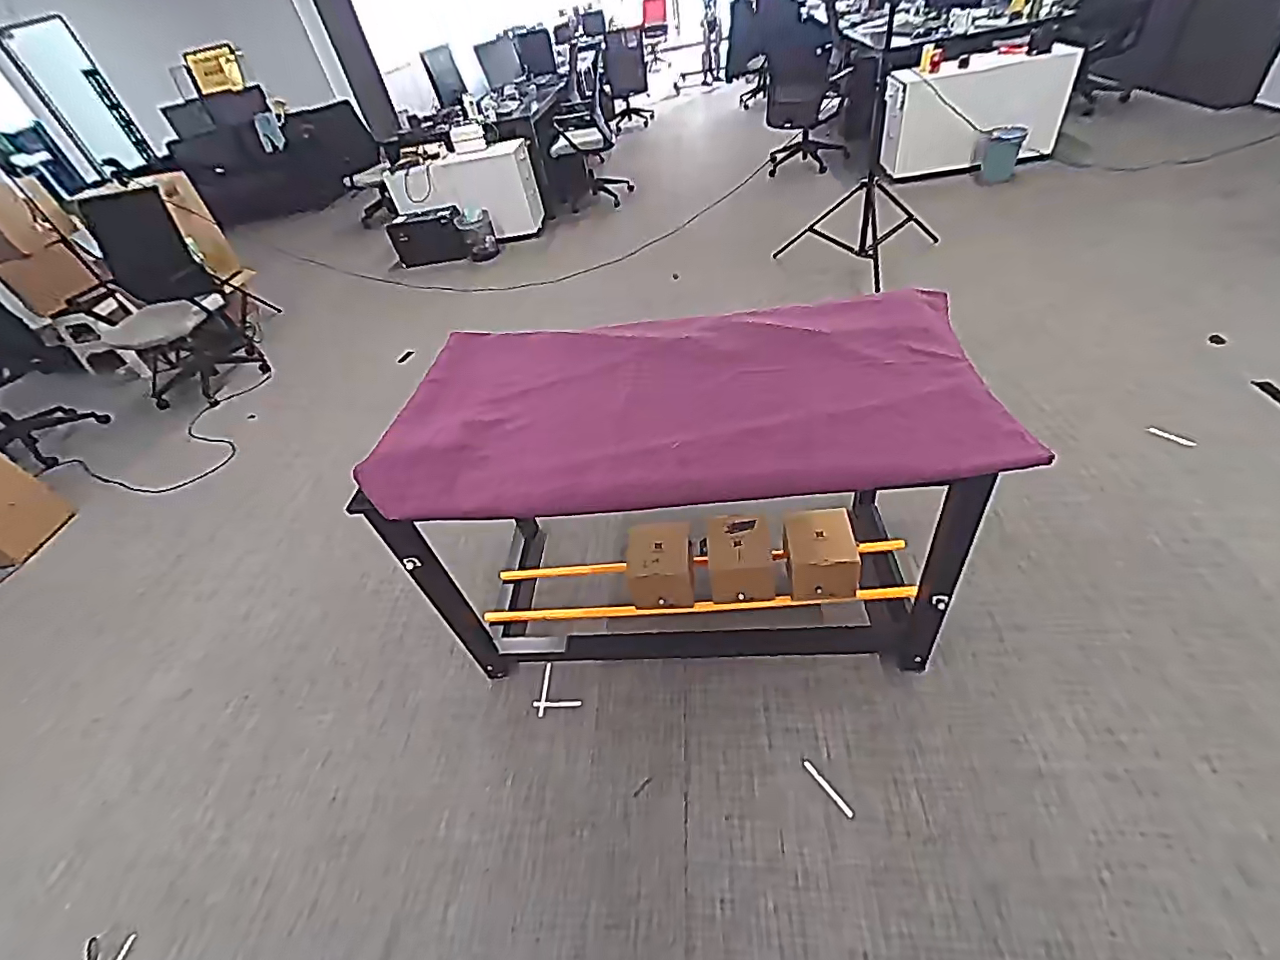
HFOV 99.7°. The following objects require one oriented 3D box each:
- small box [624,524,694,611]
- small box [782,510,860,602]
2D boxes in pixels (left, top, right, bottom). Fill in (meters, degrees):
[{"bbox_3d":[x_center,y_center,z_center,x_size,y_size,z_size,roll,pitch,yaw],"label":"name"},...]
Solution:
[{"bbox_3d":[0.058,0.243,1.501,0.168,0.176,0.179,-4,45,10],"label":"small box"},{"bbox_3d":[0.472,0.203,1.437,0.168,0.176,0.179,-6,45,9],"label":"small box"}]
